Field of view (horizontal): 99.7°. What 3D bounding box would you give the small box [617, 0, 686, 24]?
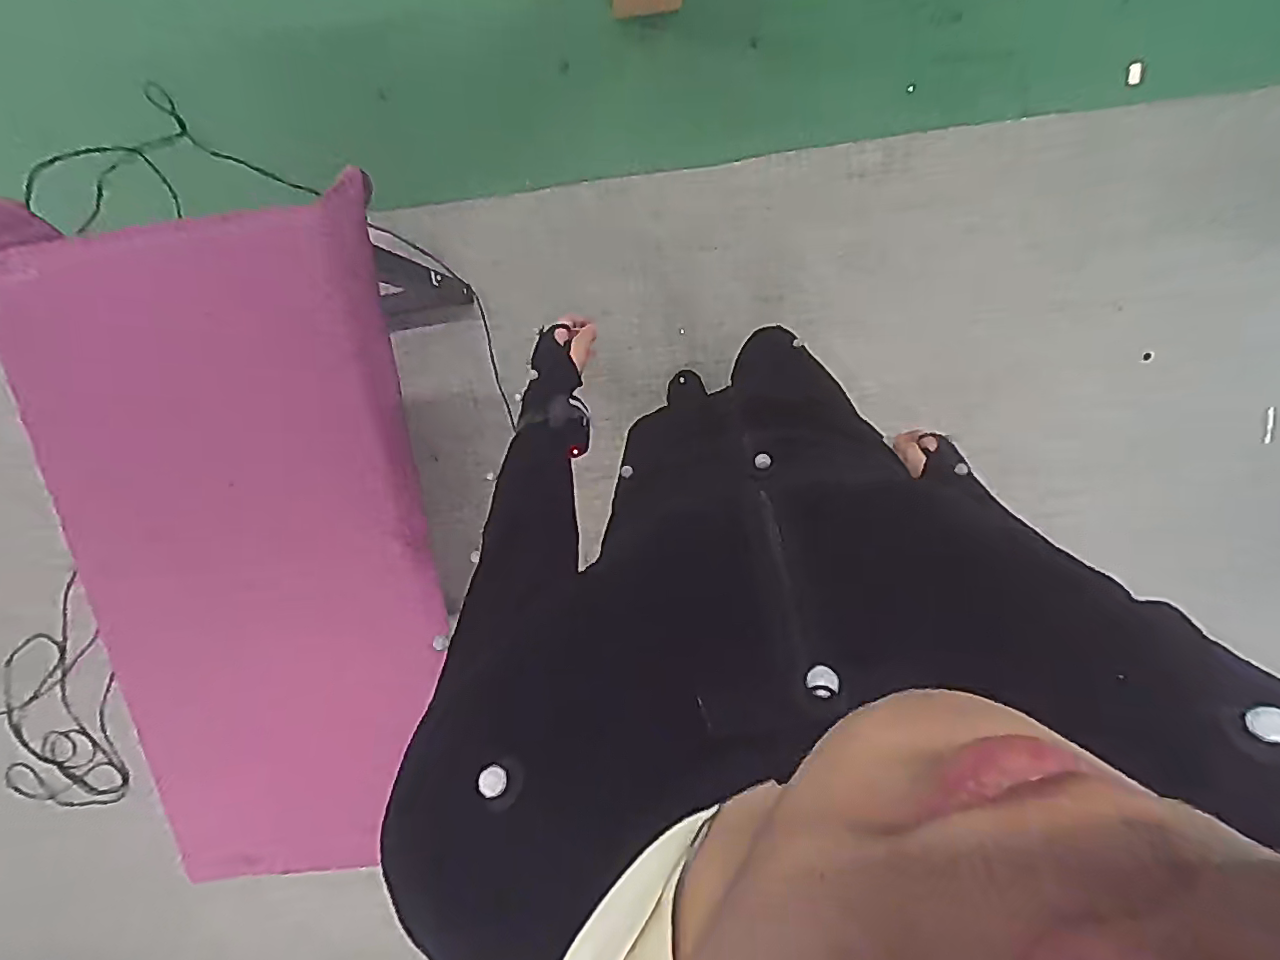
[{"bbox_3d":[0.024,-1.256,1.307,0.179,0.176,0.168,-6,100,4],"label":"small box"}]
